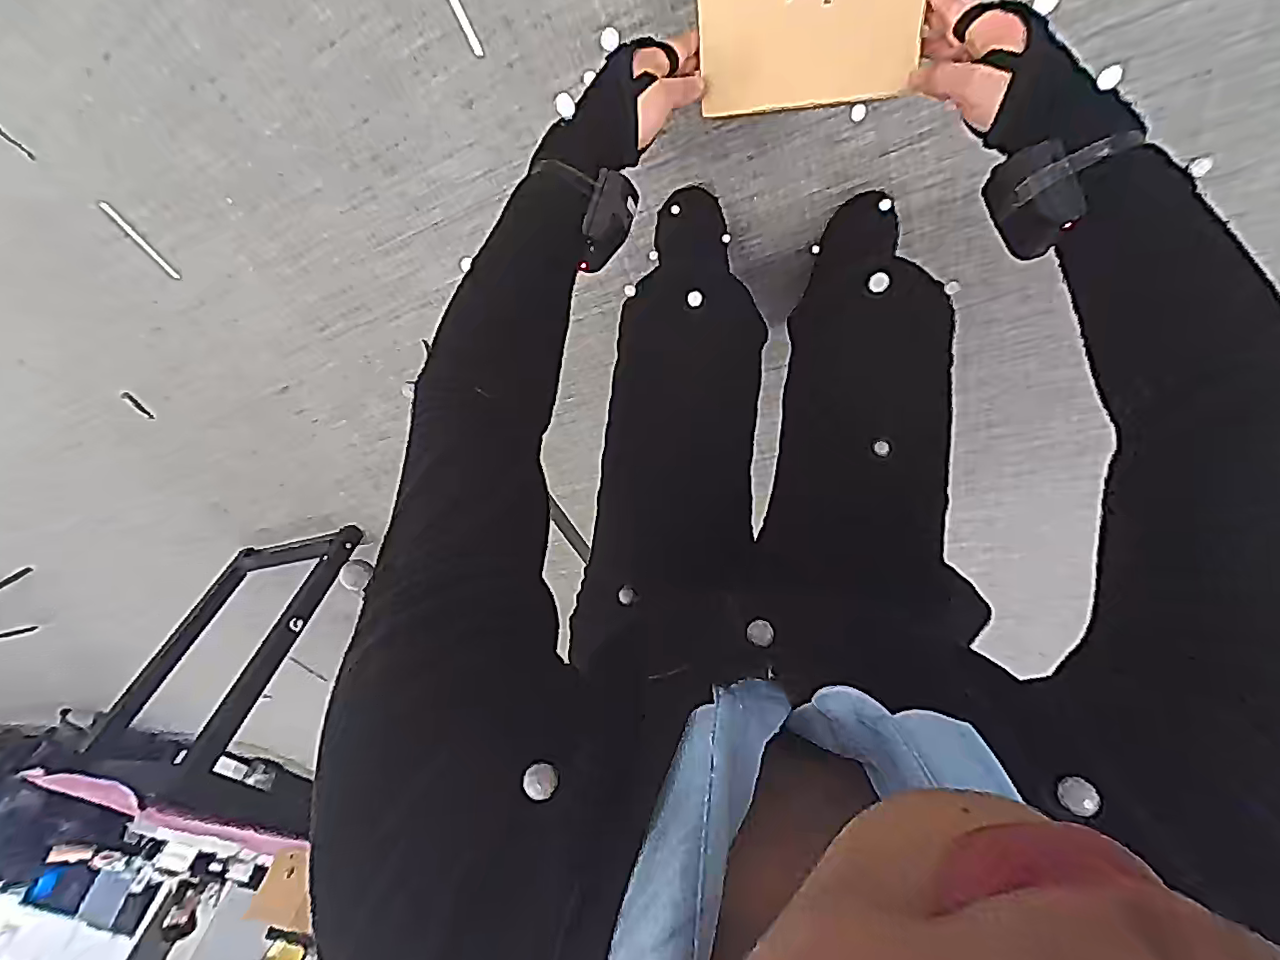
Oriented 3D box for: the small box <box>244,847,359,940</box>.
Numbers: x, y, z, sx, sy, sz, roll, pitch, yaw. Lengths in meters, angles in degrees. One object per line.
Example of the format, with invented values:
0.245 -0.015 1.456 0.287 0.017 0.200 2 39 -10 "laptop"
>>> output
-0.936 1.155 1.514 0.168 0.176 0.179 -6 134 18 "small box"
